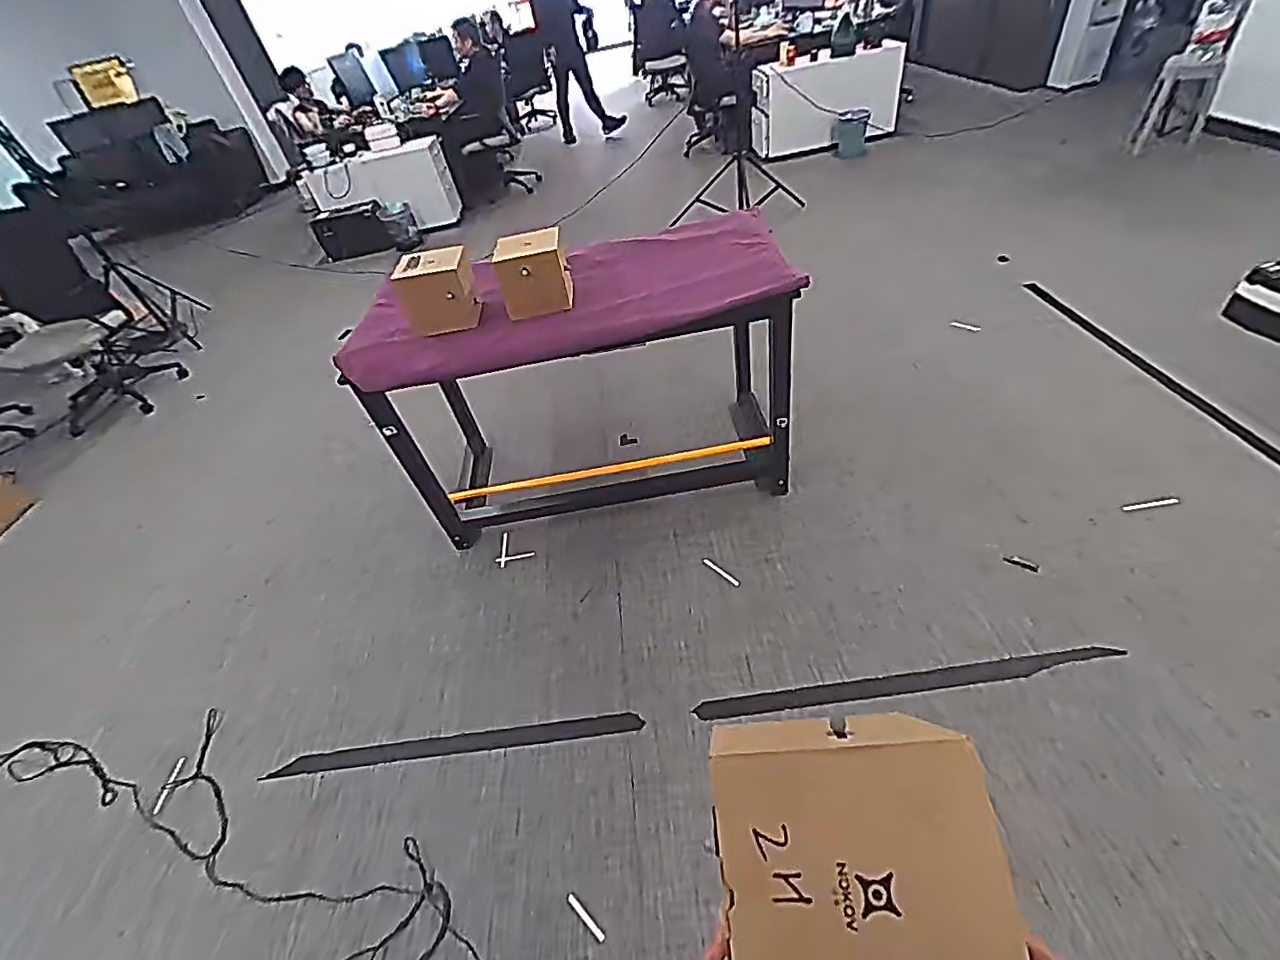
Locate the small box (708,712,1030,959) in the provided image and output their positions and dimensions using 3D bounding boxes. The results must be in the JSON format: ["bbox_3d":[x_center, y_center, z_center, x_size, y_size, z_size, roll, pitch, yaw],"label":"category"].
[{"bbox_3d":[0.148,0.276,0.408,0.179,0.176,0.168,-8,71,7],"label":"small box"}]

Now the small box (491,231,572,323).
[{"bbox_3d":[-0.291,-0.558,1.491,0.179,0.176,0.168,-11,43,3],"label":"small box"}]
